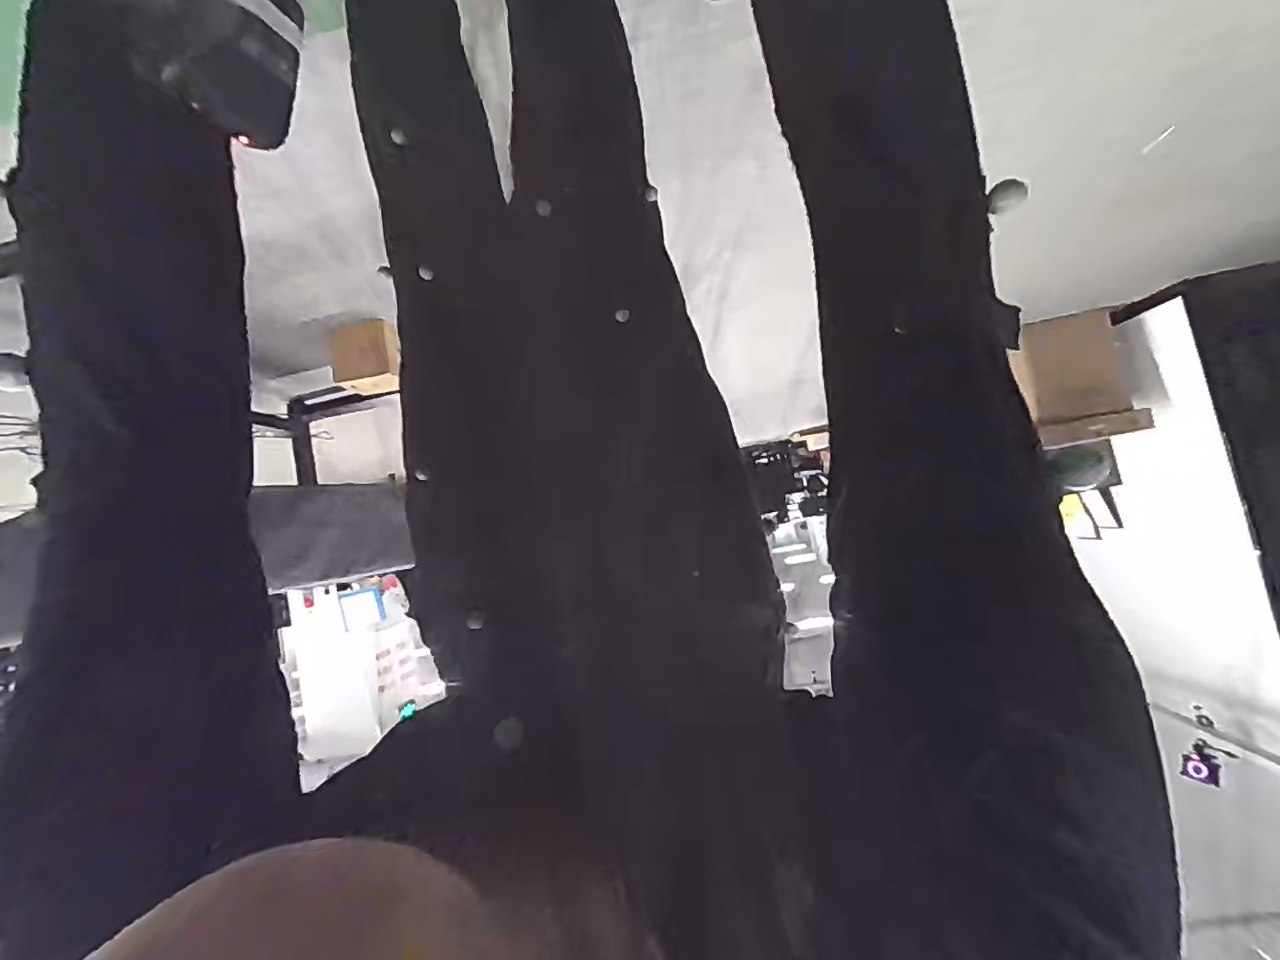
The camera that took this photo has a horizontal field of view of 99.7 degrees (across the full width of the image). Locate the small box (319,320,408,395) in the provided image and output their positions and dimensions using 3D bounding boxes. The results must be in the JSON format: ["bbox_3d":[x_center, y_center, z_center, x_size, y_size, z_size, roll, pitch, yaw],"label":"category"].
[{"bbox_3d":[-0.837,-0.372,1.641,0.179,0.176,0.168,-12,176,1],"label":"small box"}]
